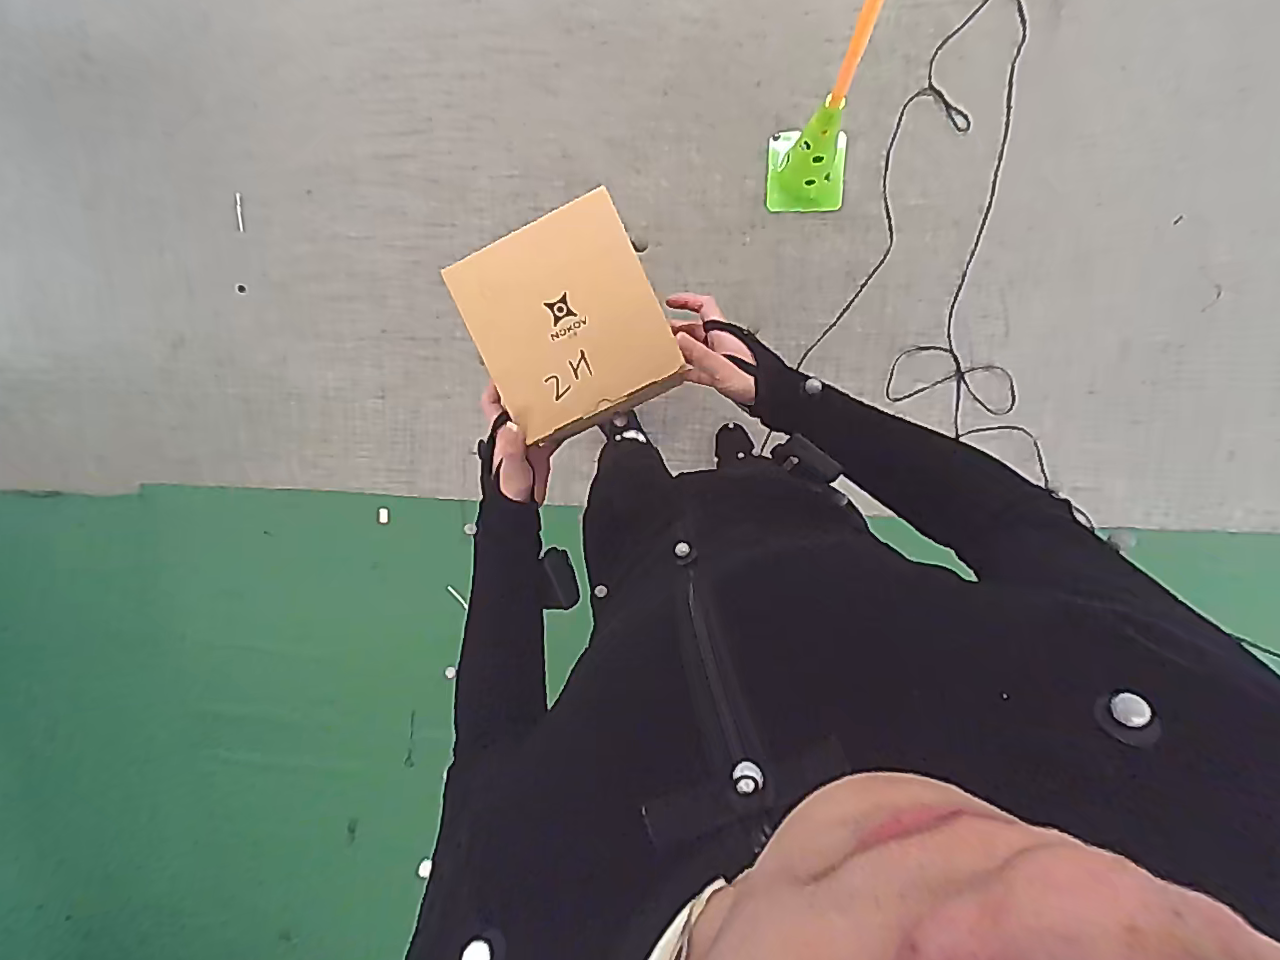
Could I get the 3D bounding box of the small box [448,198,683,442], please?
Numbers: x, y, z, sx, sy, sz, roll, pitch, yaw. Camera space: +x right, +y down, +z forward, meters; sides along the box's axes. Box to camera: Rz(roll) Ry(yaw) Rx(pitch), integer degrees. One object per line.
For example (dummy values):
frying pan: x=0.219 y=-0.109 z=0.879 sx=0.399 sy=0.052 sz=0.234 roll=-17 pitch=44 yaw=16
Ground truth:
small box: x=-0.065 y=-0.149 z=0.570 sx=0.168 sy=0.176 sz=0.179 roll=-24 pitch=93 yaw=6

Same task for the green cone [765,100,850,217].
green cone: x=0.428 y=-0.793 z=1.297 sx=0.202 sy=0.368 sz=0.200 roll=2 pitch=99 yaw=6
